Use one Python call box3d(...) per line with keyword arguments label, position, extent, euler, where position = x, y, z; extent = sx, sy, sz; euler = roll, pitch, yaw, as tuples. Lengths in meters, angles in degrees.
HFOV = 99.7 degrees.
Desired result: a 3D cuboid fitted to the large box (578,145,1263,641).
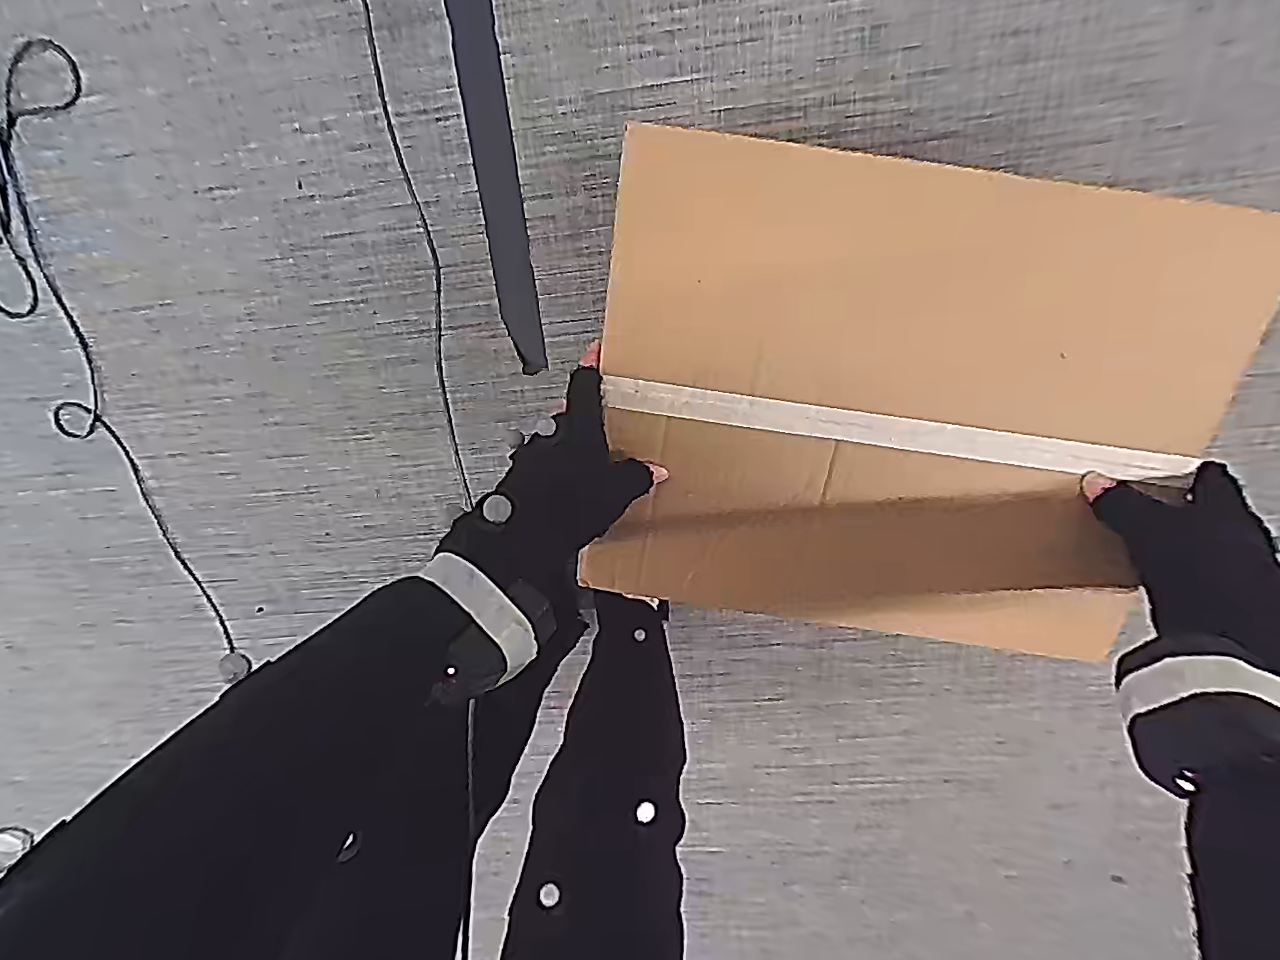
box3d(label="large box", position=(0.175, -0.088, 0.520), extent=(0.408, 0.320, 0.320), euler=(9, 109, 0))
